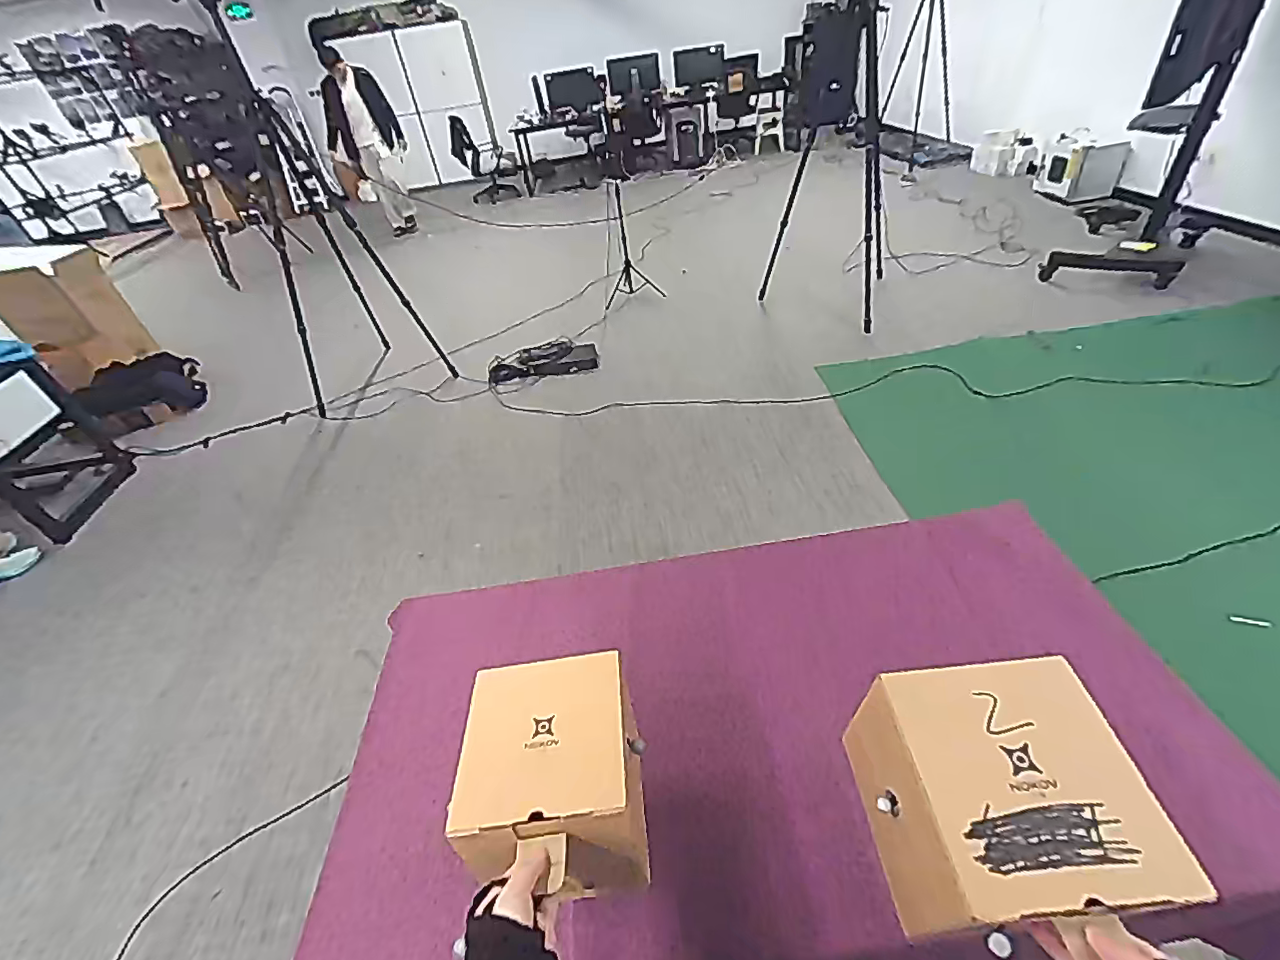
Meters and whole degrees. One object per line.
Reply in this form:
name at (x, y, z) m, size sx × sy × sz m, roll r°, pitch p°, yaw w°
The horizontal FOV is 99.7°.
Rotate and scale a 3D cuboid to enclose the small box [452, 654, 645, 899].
small box at (-0.090, 0.329, 0.609) m, size 0.168 × 0.176 × 0.179 m, roll -9°, pitch 34°, yaw 0°
